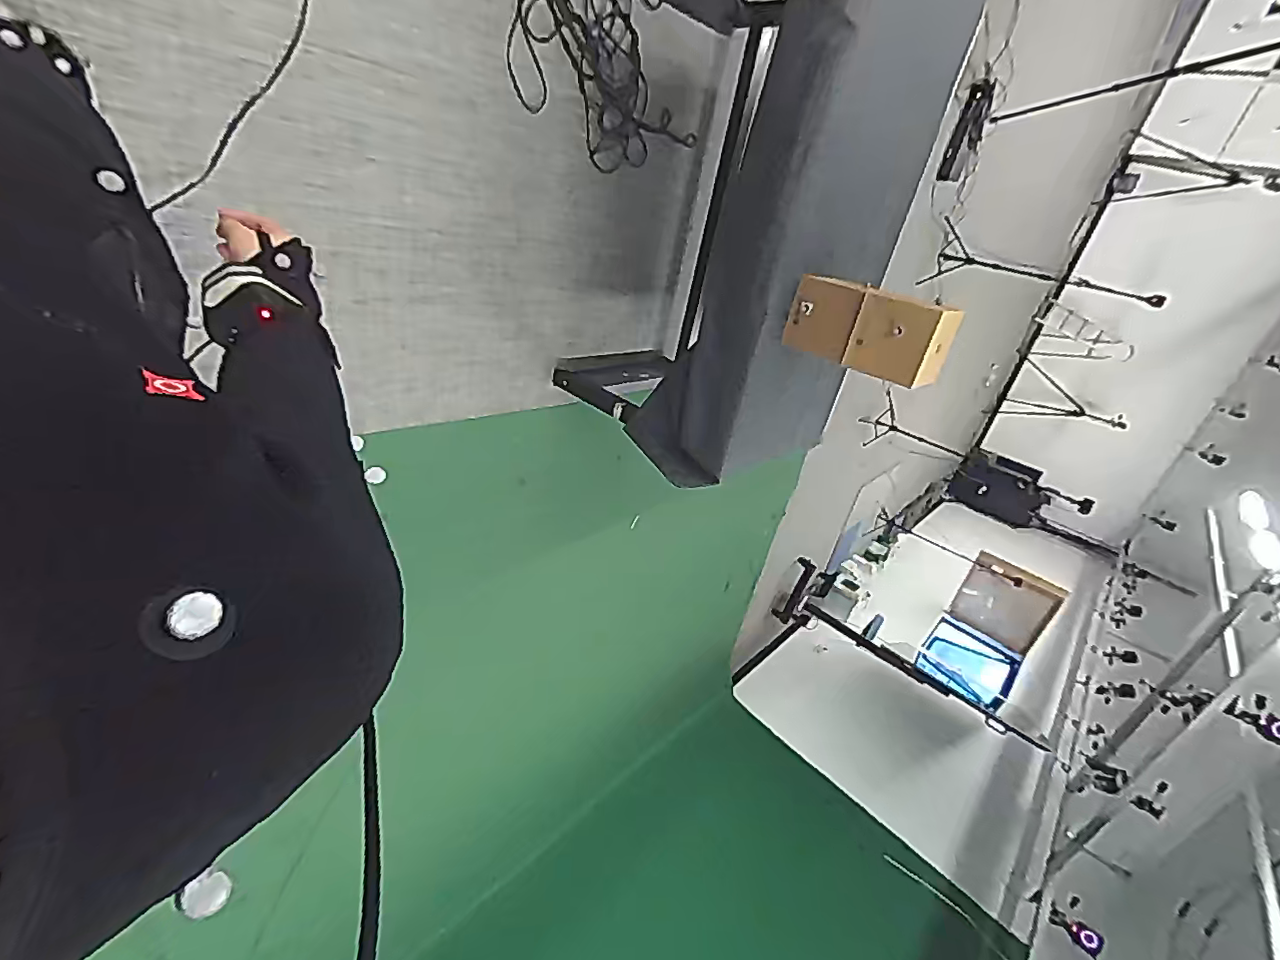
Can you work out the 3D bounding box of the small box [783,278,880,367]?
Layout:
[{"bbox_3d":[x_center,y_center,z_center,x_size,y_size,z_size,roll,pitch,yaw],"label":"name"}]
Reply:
[{"bbox_3d":[0.474,-0.381,1.298,0.179,0.176,0.168,-17,128,-44],"label":"small box"}]

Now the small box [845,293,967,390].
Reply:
[{"bbox_3d":[0.585,-0.311,1.202,0.179,0.176,0.168,-19,130,-45],"label":"small box"}]
